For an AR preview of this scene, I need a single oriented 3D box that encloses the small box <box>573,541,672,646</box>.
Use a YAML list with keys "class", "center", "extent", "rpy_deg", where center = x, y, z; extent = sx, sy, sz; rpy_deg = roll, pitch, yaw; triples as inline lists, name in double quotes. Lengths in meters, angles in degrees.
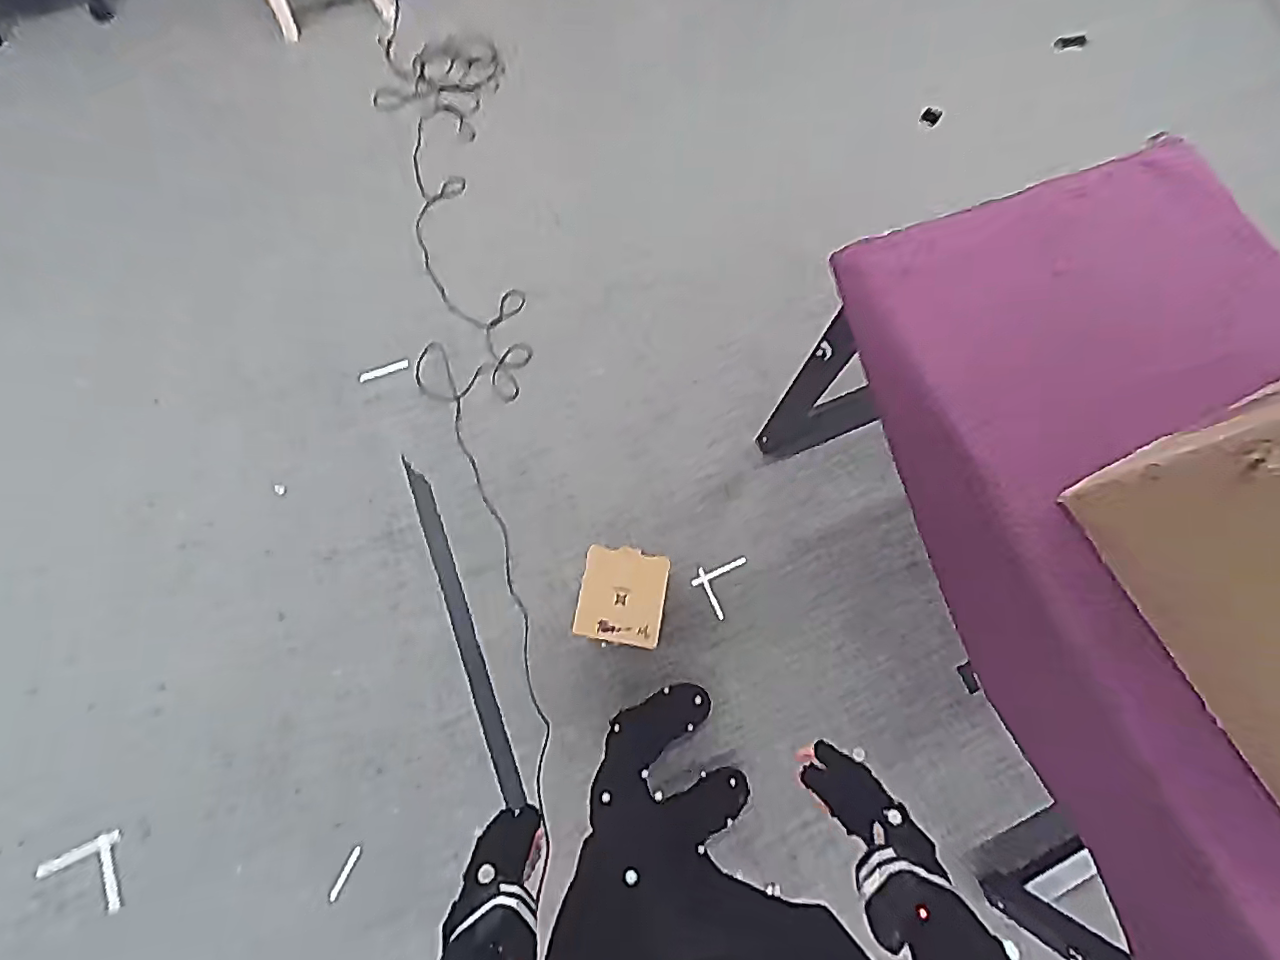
- class: "small box"
  center: [-0.034, 0.239, 1.115]
  extent: [0.168, 0.176, 0.179]
  rpy_deg: [10, 73, 2]
